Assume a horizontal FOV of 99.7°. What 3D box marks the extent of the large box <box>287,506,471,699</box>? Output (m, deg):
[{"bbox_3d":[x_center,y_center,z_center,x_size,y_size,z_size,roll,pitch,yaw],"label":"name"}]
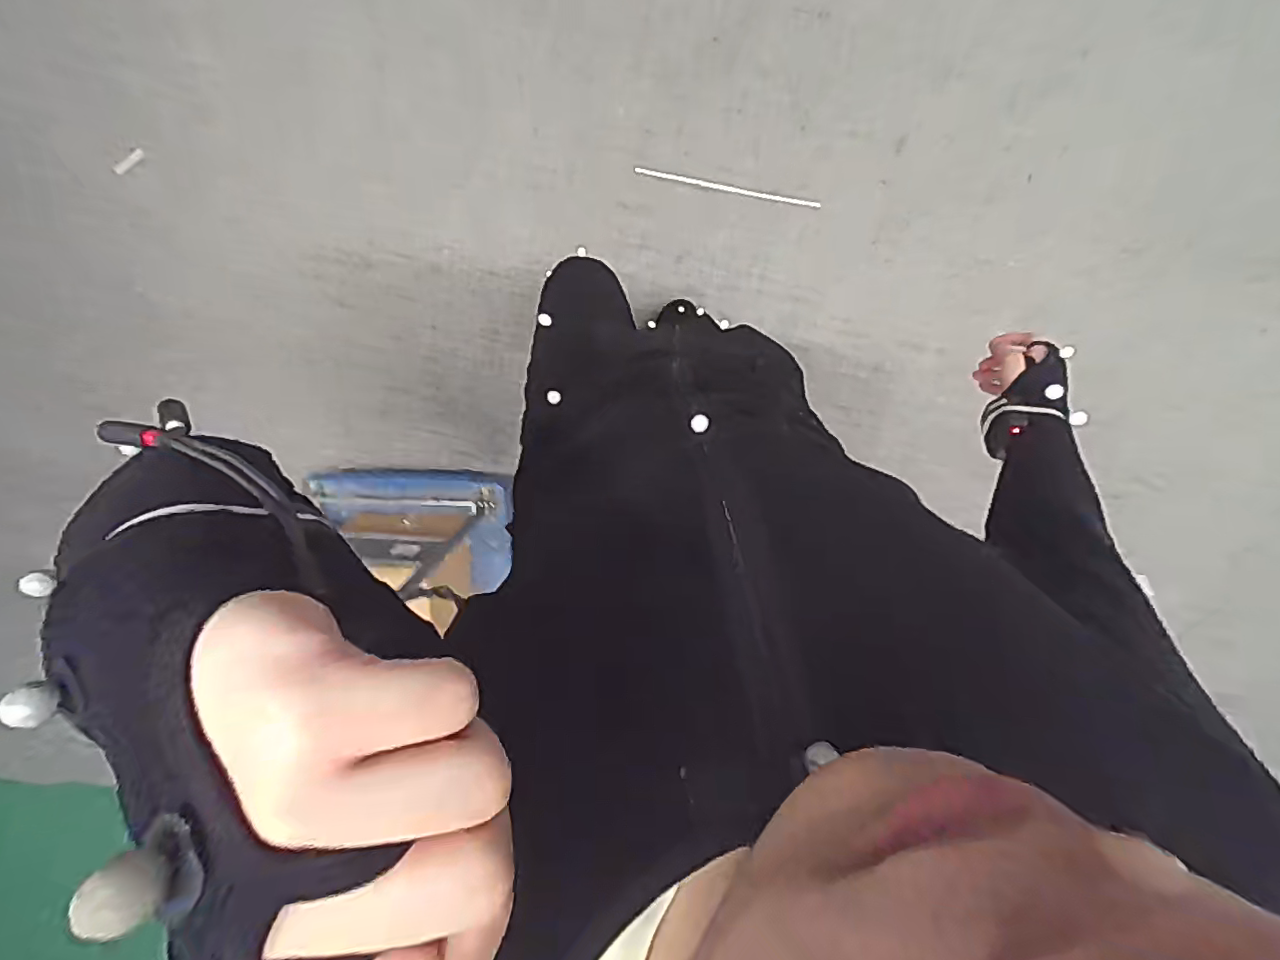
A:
[{"bbox_3d":[-0.653,0.305,1.427,0.320,0.320,0.408,2,109,0],"label":"large box"}]
